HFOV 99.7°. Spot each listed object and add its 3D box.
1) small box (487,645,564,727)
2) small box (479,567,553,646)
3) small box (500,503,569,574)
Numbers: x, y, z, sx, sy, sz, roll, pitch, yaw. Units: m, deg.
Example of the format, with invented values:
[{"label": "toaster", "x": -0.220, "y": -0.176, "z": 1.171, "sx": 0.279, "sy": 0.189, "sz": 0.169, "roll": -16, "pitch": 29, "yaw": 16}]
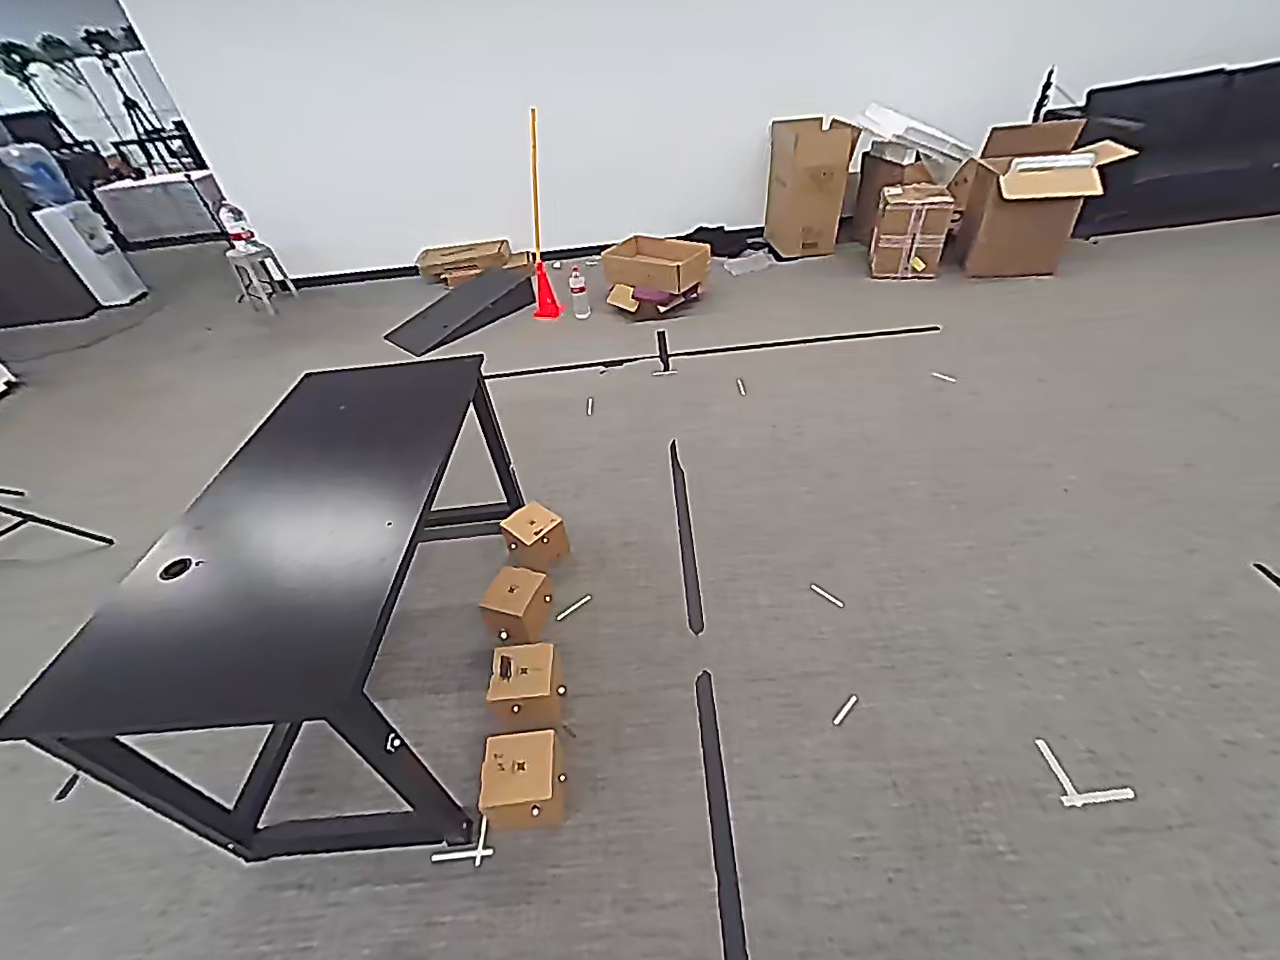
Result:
[{"label": "small box", "x": -0.328, "y": 0.605, "z": 1.580, "sx": 0.179, "sy": 0.176, "sz": 0.168, "roll": -5, "pitch": 41, "yaw": 0}, {"label": "small box", "x": -0.405, "y": 0.422, "z": 1.807, "sx": 0.168, "sy": 0.176, "sz": 0.179, "roll": 8, "pitch": 44, "yaw": 18}, {"label": "small box", "x": -0.394, "y": 0.221, "z": 2.034, "sx": 0.179, "sy": 0.176, "sz": 0.168, "roll": 27, "pitch": 51, "yaw": 33}]
